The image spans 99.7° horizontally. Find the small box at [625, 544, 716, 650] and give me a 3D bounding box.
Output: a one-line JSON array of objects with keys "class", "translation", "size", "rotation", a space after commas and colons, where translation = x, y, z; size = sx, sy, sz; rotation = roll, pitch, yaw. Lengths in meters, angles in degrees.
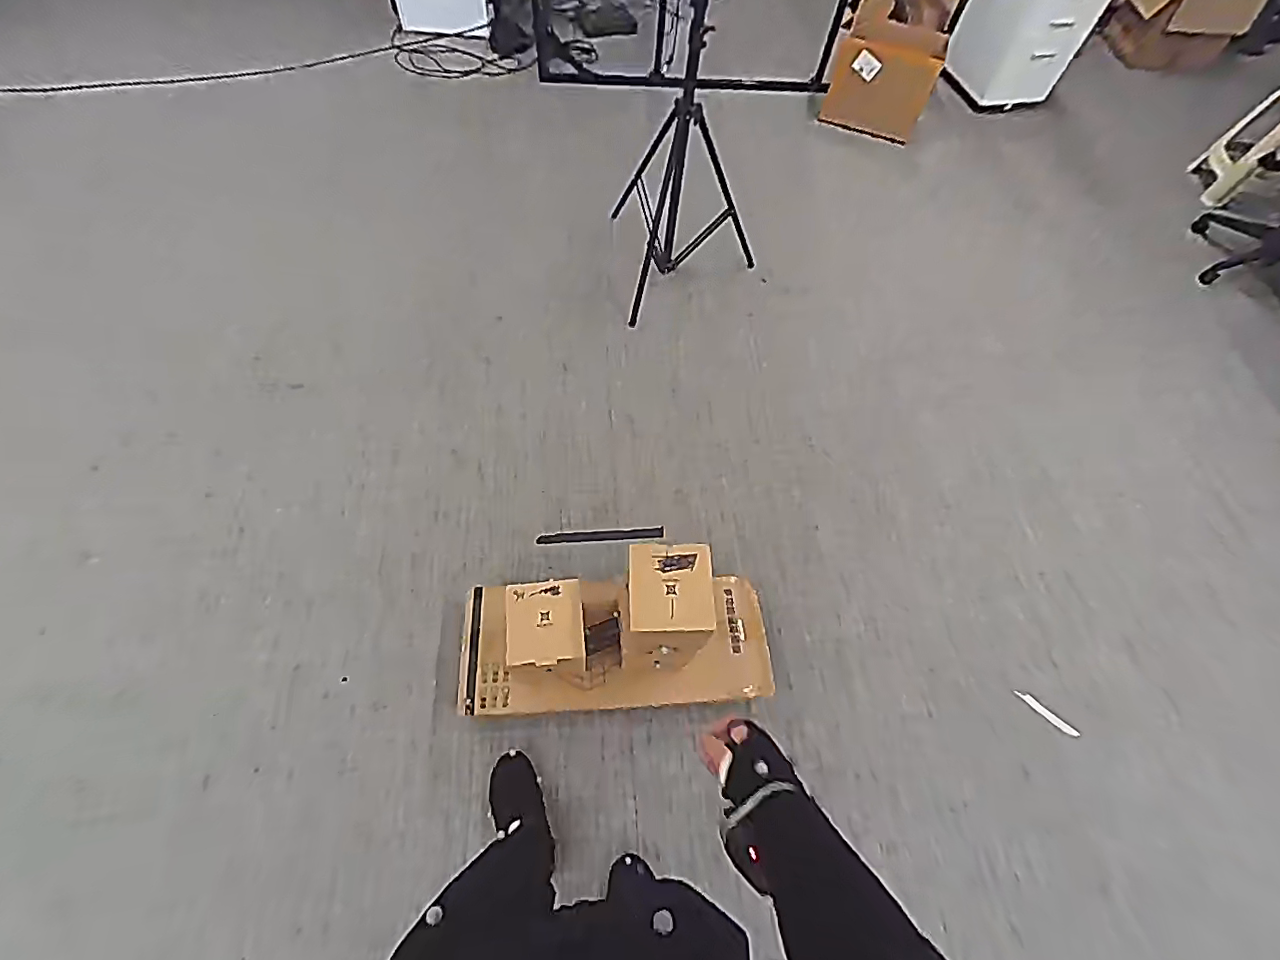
[{"class": "small box", "translation": [0.056, 0.245, 1.119], "size": [0.168, 0.176, 0.179], "rotation": [1, 61, -4]}]

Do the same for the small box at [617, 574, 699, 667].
[{"class": "small box", "translation": [0.035, 0.326, 1.260], "size": [0.168, 0.176, 0.179], "rotation": [-3, 61, -6]}]

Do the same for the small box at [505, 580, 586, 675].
[{"class": "small box", "translation": [-0.210, 0.341, 1.231], "size": [0.168, 0.176, 0.179], "rotation": [-4, 62, -7]}]
